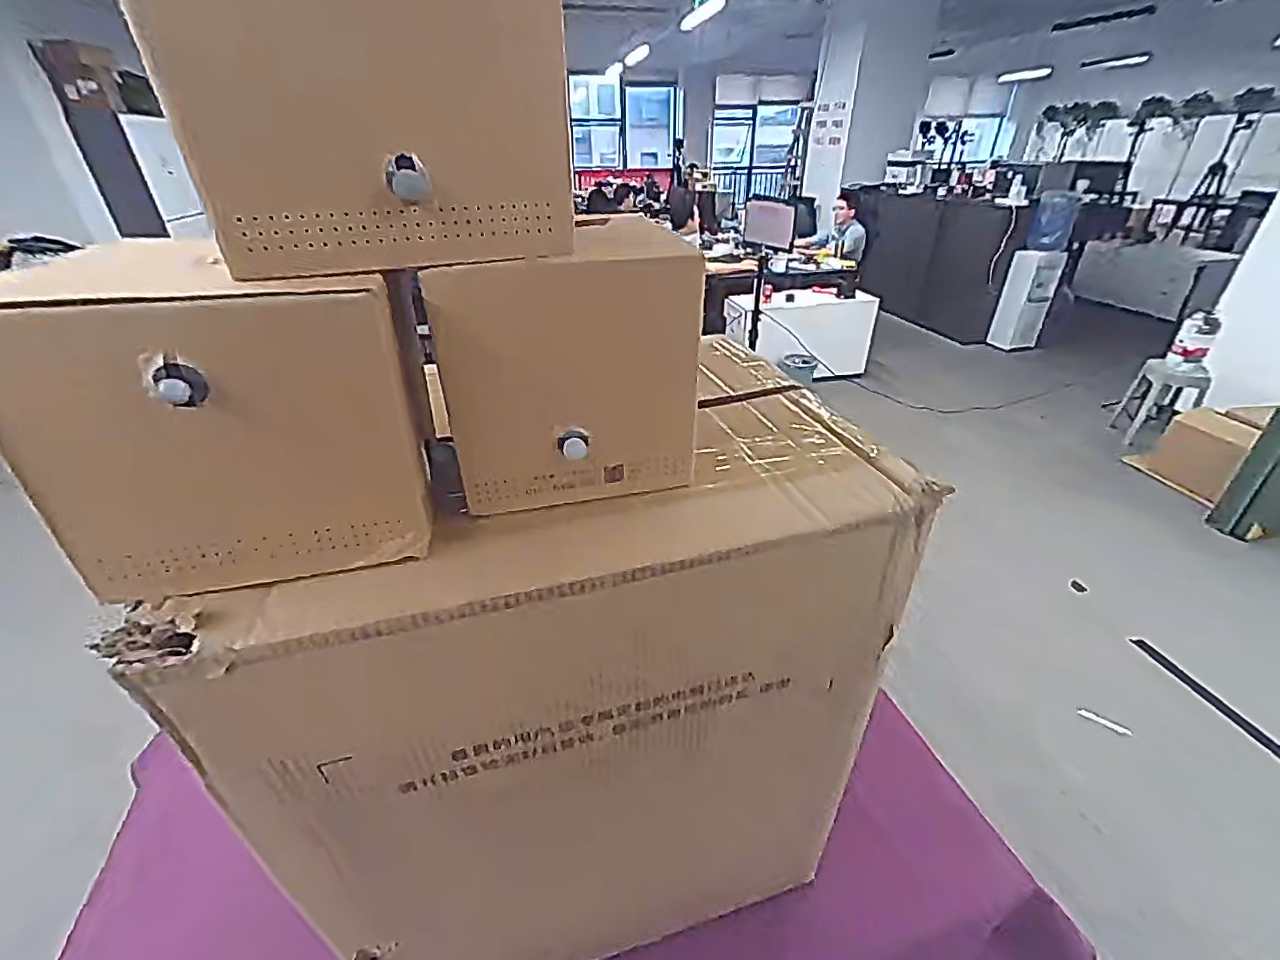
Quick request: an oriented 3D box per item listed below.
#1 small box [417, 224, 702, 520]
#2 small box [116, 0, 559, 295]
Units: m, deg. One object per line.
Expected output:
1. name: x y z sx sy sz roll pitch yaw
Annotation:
1. small box: -0.060 -0.092 0.418 0.168 0.176 0.179 -8 35 -11
2. small box: -0.150 -0.214 0.306 0.179 0.176 0.168 -14 35 -21
